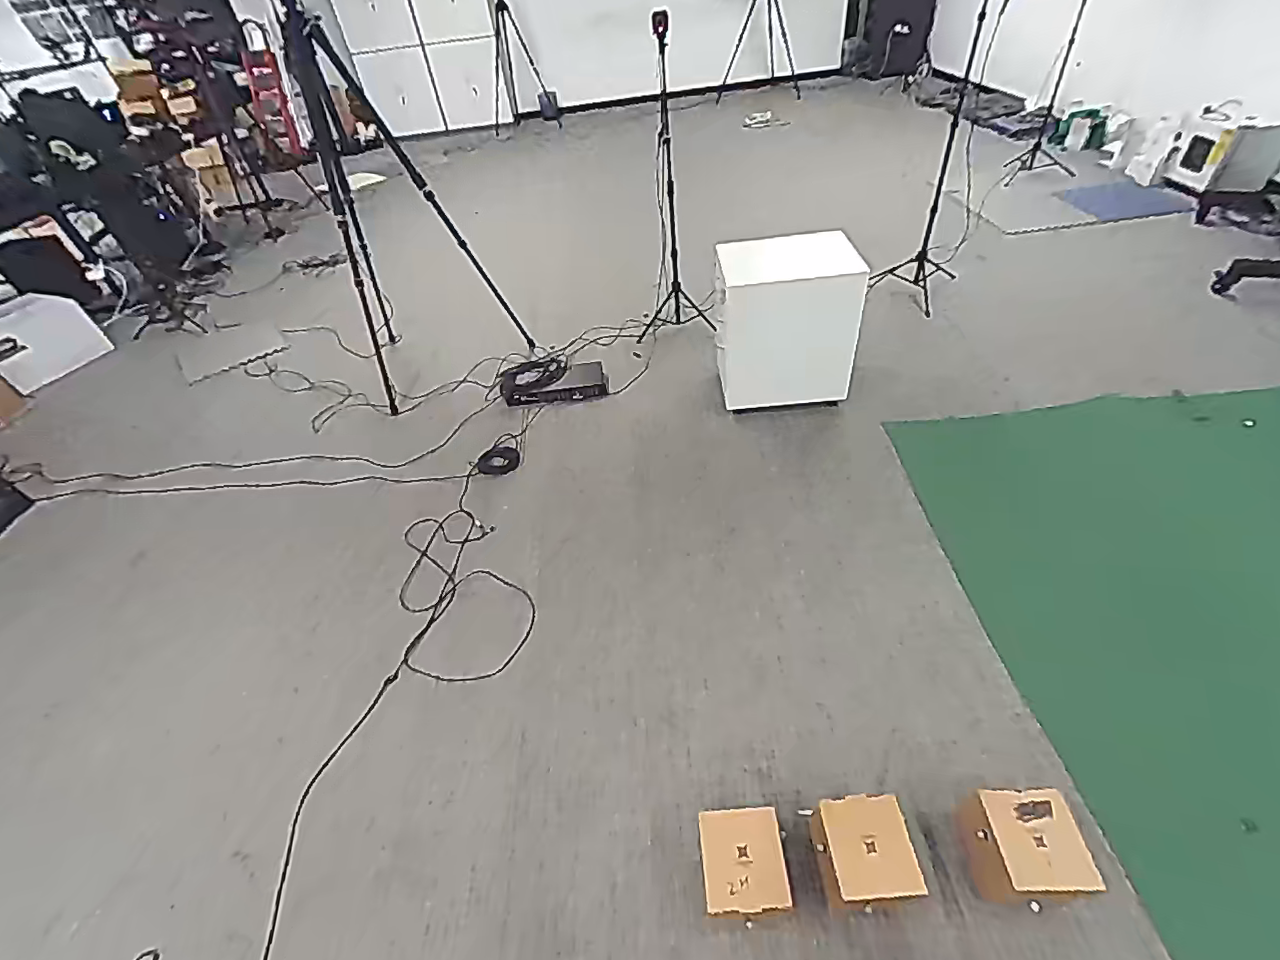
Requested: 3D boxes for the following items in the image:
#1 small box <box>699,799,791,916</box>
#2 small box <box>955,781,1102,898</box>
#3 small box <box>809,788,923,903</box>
[{"bbox_3d":[0.216,0.808,1.158,0.168,0.176,0.179,-6,45,3],"label":"small box"},{"bbox_3d":[0.794,0.754,1.133,0.168,0.176,0.179,-4,45,5],"label":"small box"},{"bbox_3d":[0.470,0.782,1.153,0.168,0.176,0.179,-6,44,2],"label":"small box"}]
